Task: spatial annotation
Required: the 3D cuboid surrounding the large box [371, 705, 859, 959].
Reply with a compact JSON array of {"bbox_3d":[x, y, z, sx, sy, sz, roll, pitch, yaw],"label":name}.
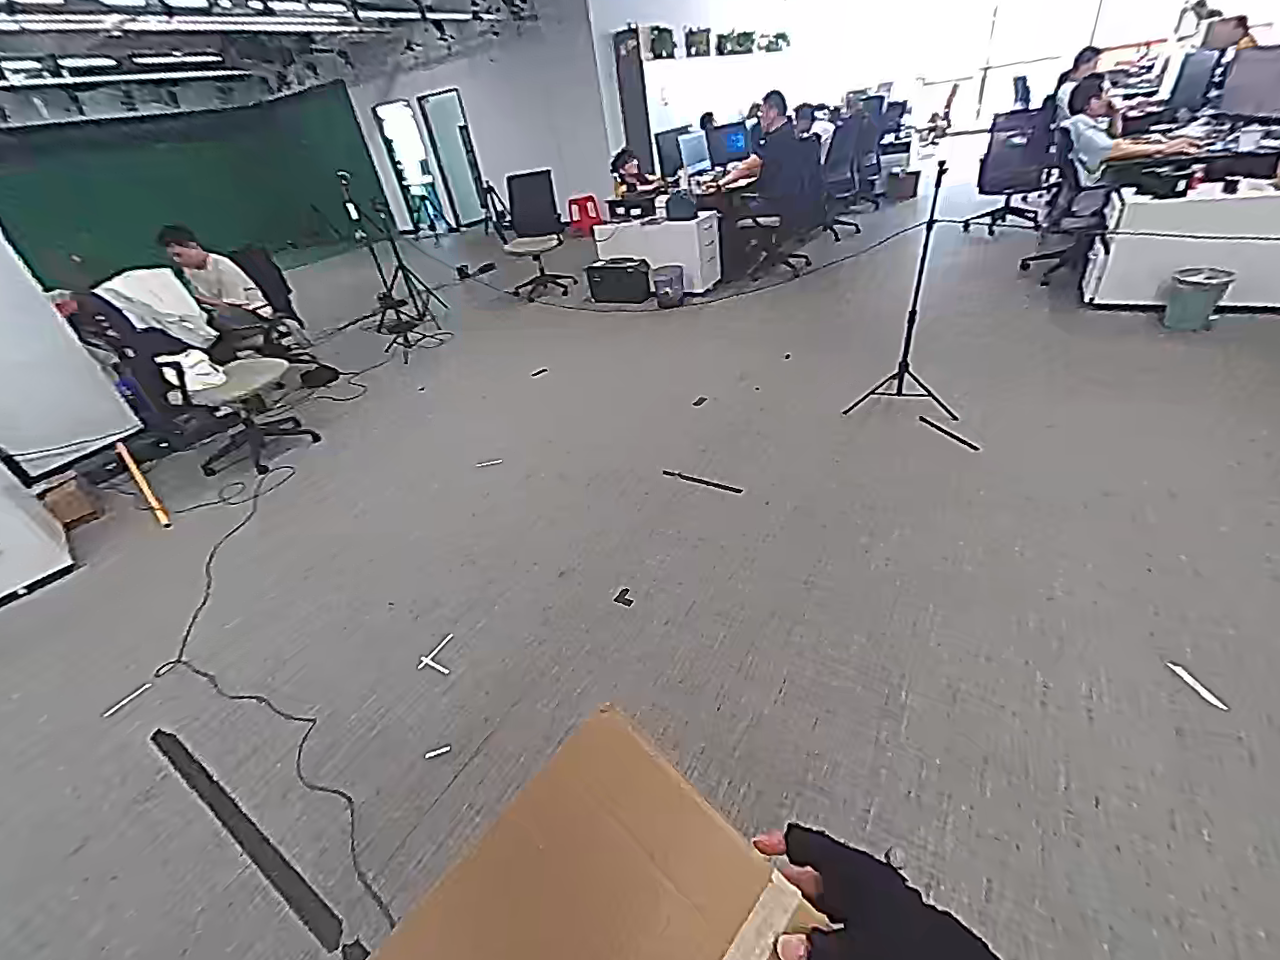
[{"bbox_3d":[-0.068,0.445,0.376,0.320,0.320,0.408,41,61,13],"label":"large box"}]
